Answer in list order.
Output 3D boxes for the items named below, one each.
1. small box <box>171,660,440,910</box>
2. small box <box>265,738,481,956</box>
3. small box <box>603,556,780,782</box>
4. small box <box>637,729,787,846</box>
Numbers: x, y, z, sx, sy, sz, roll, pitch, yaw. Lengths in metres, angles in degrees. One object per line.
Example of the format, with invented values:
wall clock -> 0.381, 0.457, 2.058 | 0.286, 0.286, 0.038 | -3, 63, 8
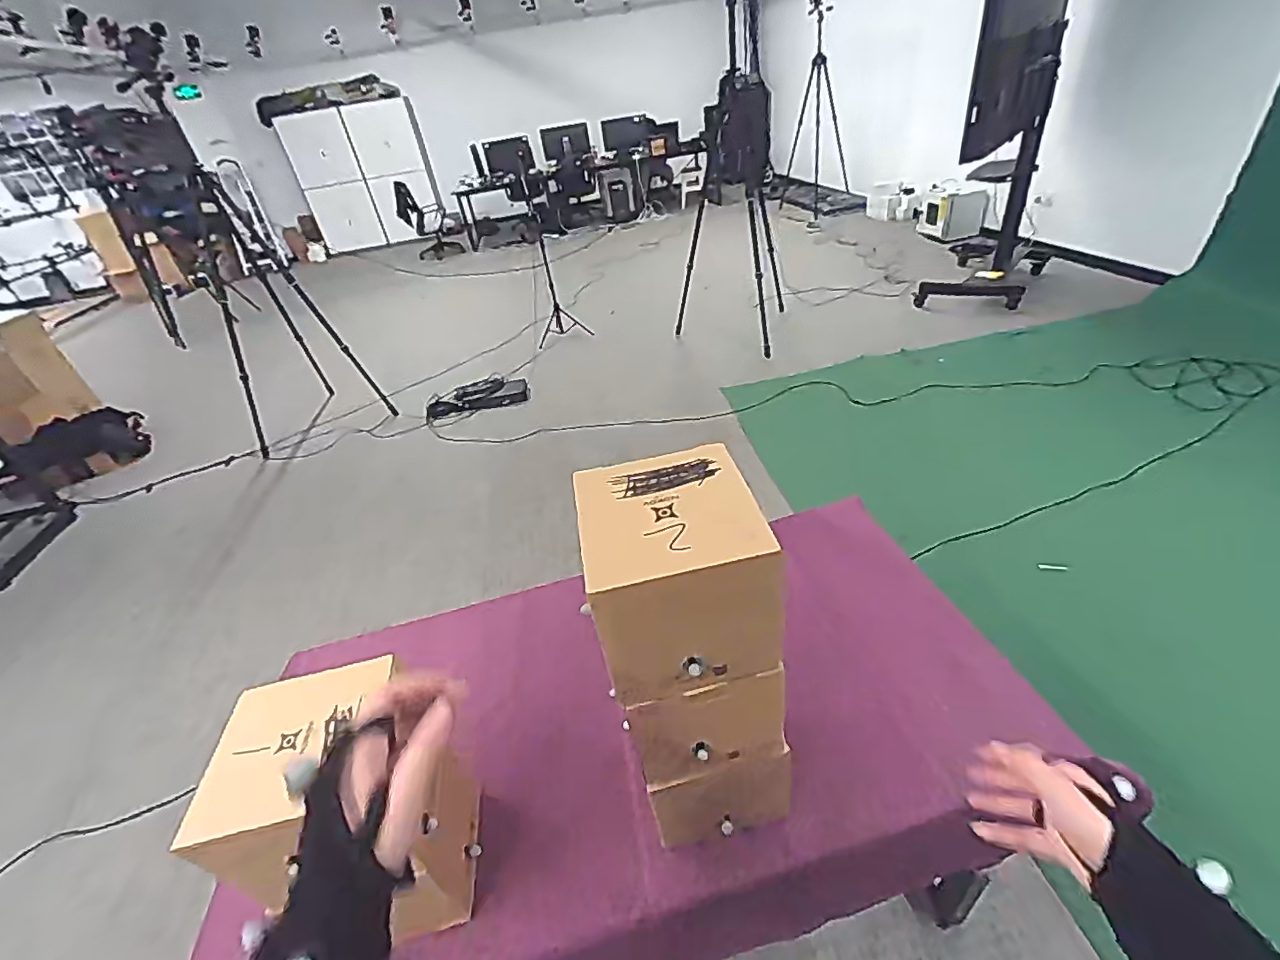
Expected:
small box -> -0.339, 0.334, 0.598 | 0.179, 0.176, 0.168 | -14, 36, -4
small box -> -0.320, 0.468, 0.692 | 0.179, 0.176, 0.168 | -12, 36, -4
small box -> 0.057, 0.225, 0.654 | 0.168, 0.176, 0.179 | -13, 37, -4
small box -> 0.084, 0.361, 0.740 | 0.179, 0.176, 0.168 | -13, 35, -5
